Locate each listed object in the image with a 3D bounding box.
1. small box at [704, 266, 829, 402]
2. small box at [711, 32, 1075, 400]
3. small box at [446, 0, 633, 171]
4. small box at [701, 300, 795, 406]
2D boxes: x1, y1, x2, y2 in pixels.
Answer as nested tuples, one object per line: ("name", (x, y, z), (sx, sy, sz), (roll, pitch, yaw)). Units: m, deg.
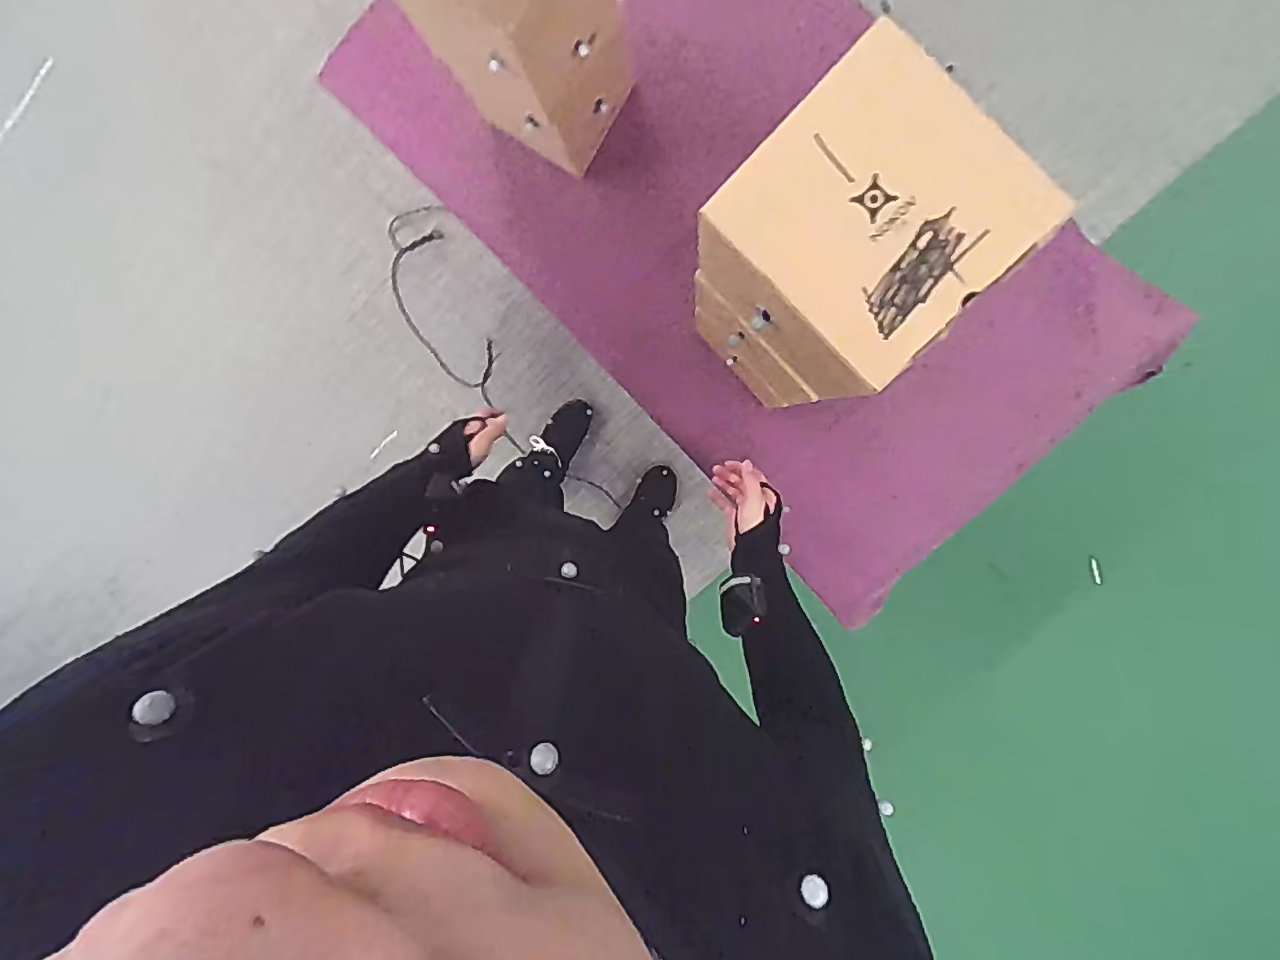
("small box", (0.186, -0.200, 0.603), (0.168, 0.176, 0.179), (-43, 90, 9))
("small box", (0.175, -0.182, 0.439), (0.168, 0.176, 0.179), (-44, 90, 8))
("small box", (-0.124, -0.567, 0.747), (0.179, 0.176, 0.168), (33, 97, 0))
("small box", (0.199, -0.217, 0.765), (0.168, 0.176, 0.179), (-42, 92, 8))
